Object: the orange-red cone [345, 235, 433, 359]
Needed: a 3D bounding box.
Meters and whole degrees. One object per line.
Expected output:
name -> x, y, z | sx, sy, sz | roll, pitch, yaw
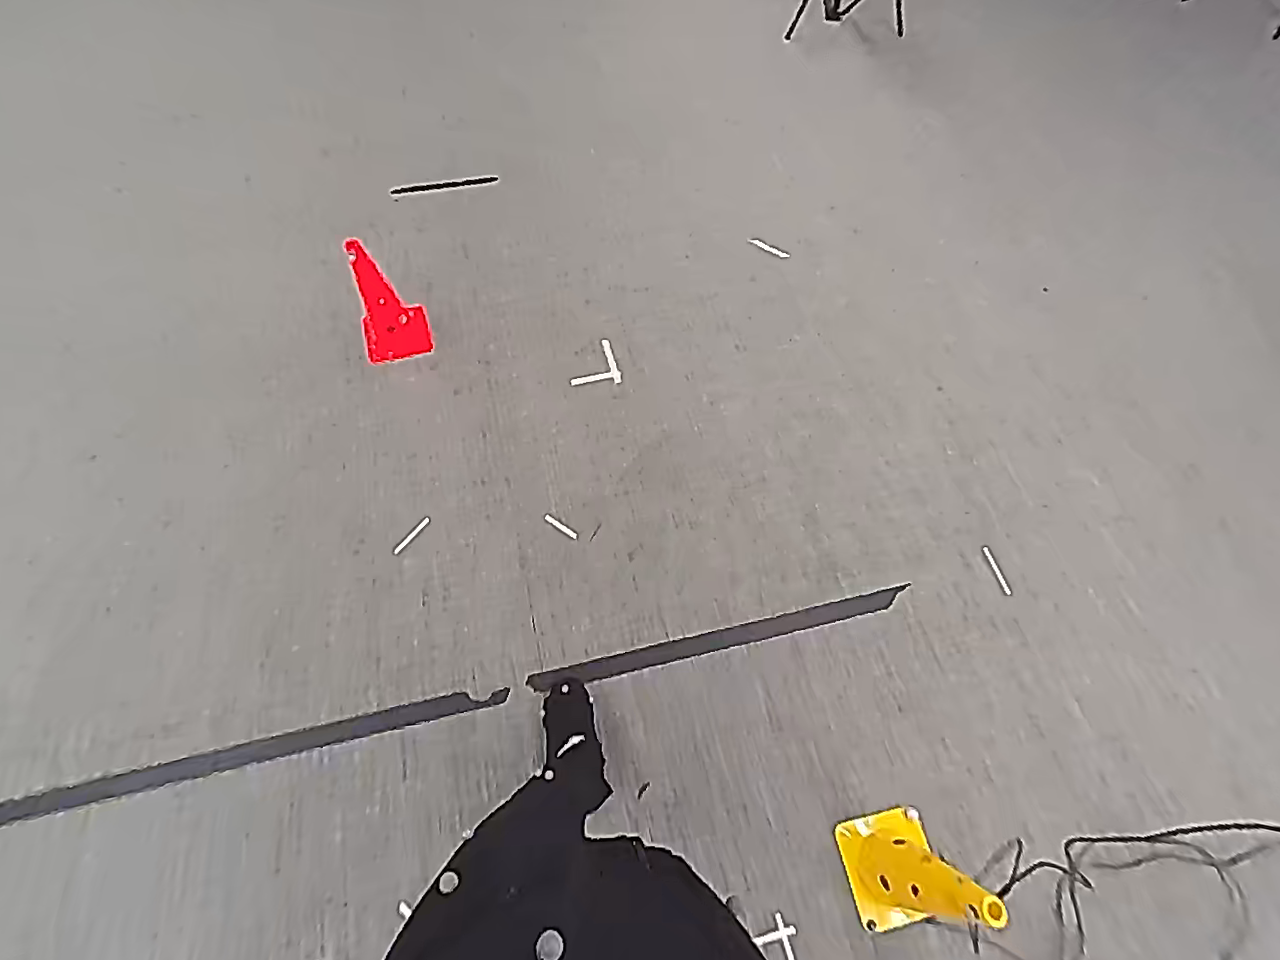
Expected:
orange-red cone -> -0.762, -0.551, 1.569 | 0.199, 0.360, 0.198 | -16, 66, -9
